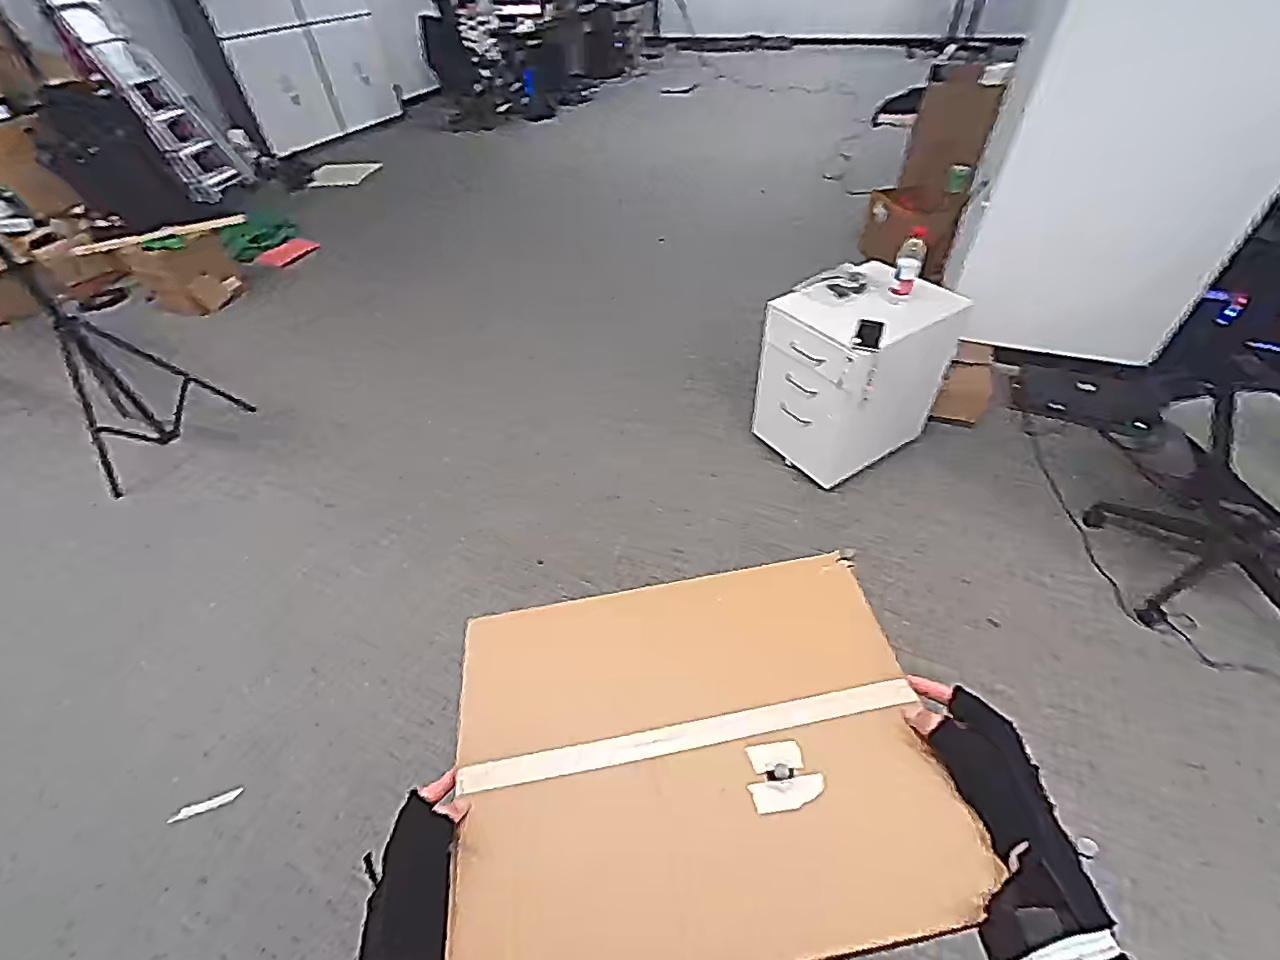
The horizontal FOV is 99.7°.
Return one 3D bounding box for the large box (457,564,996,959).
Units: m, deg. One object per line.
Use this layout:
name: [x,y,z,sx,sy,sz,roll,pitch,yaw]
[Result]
large box: [0.051,0.339,0.585,0.408,0.320,0.320,-11,47,-4]
